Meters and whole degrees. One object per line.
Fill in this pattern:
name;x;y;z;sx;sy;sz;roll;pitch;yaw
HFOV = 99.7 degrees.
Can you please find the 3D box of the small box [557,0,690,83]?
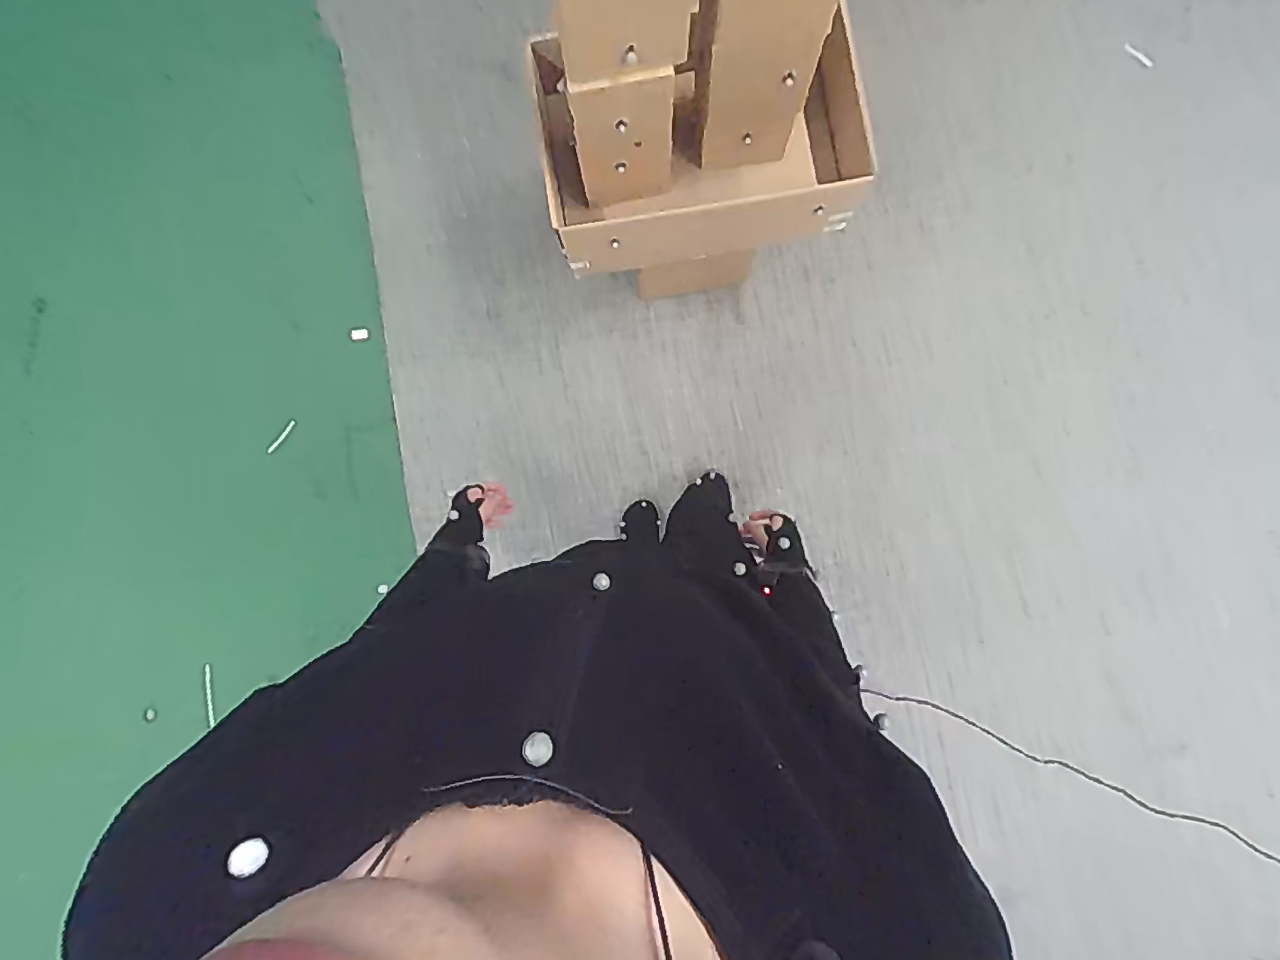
small box;-0.029;-0.691;0.738;0.179;0.176;0.168;-11;87;0
